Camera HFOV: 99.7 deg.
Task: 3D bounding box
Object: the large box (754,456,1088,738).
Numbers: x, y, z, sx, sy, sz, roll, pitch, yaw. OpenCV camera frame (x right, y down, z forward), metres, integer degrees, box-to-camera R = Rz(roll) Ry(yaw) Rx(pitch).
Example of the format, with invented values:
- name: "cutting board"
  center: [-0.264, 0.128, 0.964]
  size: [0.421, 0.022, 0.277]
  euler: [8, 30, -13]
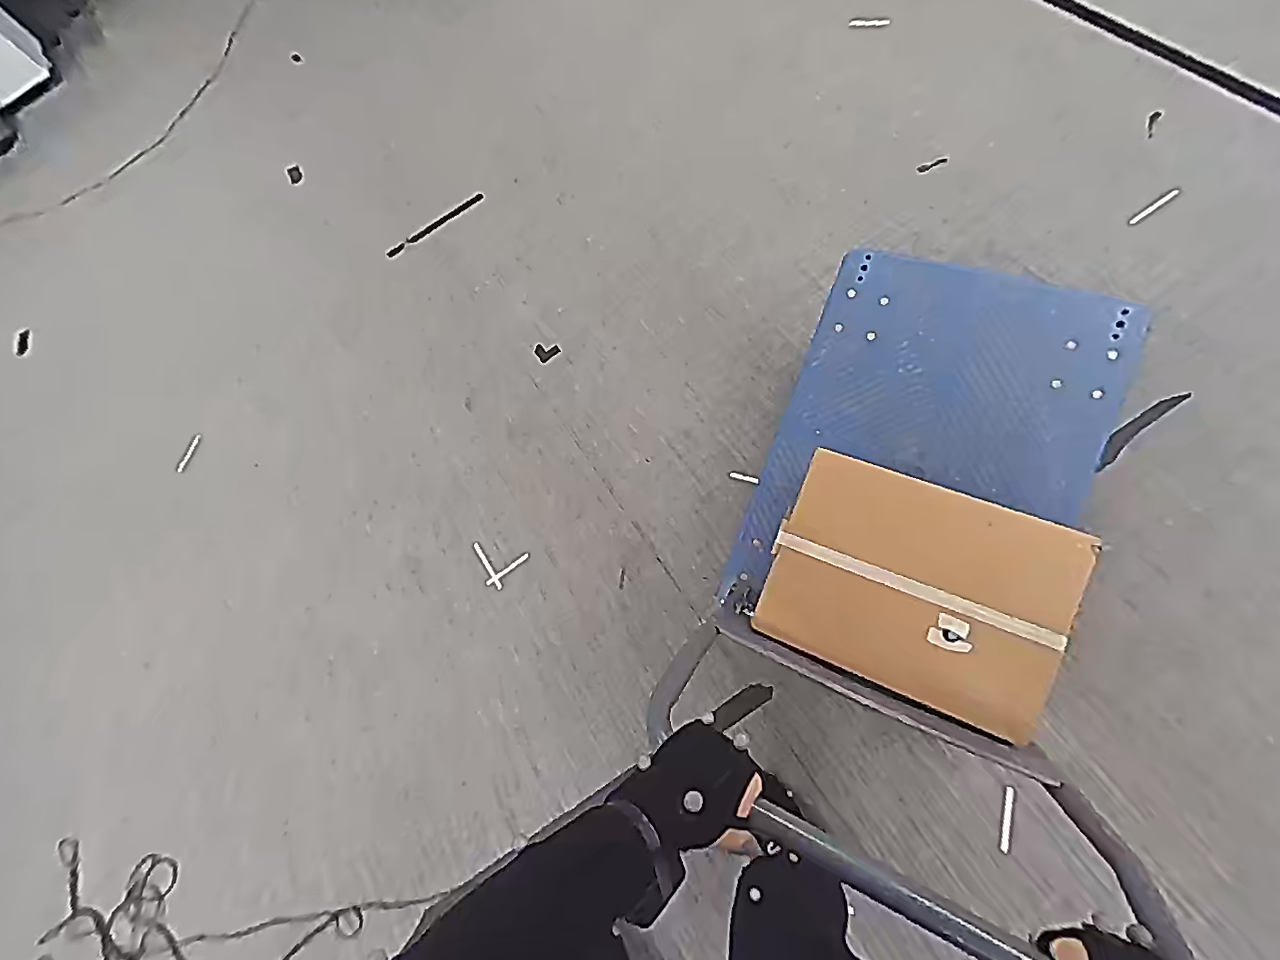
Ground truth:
- name: "large box"
  center: [0.451, 0.181, 0.971]
  size: [0.408, 0.320, 0.320]
  euler: [21, 90, 17]
